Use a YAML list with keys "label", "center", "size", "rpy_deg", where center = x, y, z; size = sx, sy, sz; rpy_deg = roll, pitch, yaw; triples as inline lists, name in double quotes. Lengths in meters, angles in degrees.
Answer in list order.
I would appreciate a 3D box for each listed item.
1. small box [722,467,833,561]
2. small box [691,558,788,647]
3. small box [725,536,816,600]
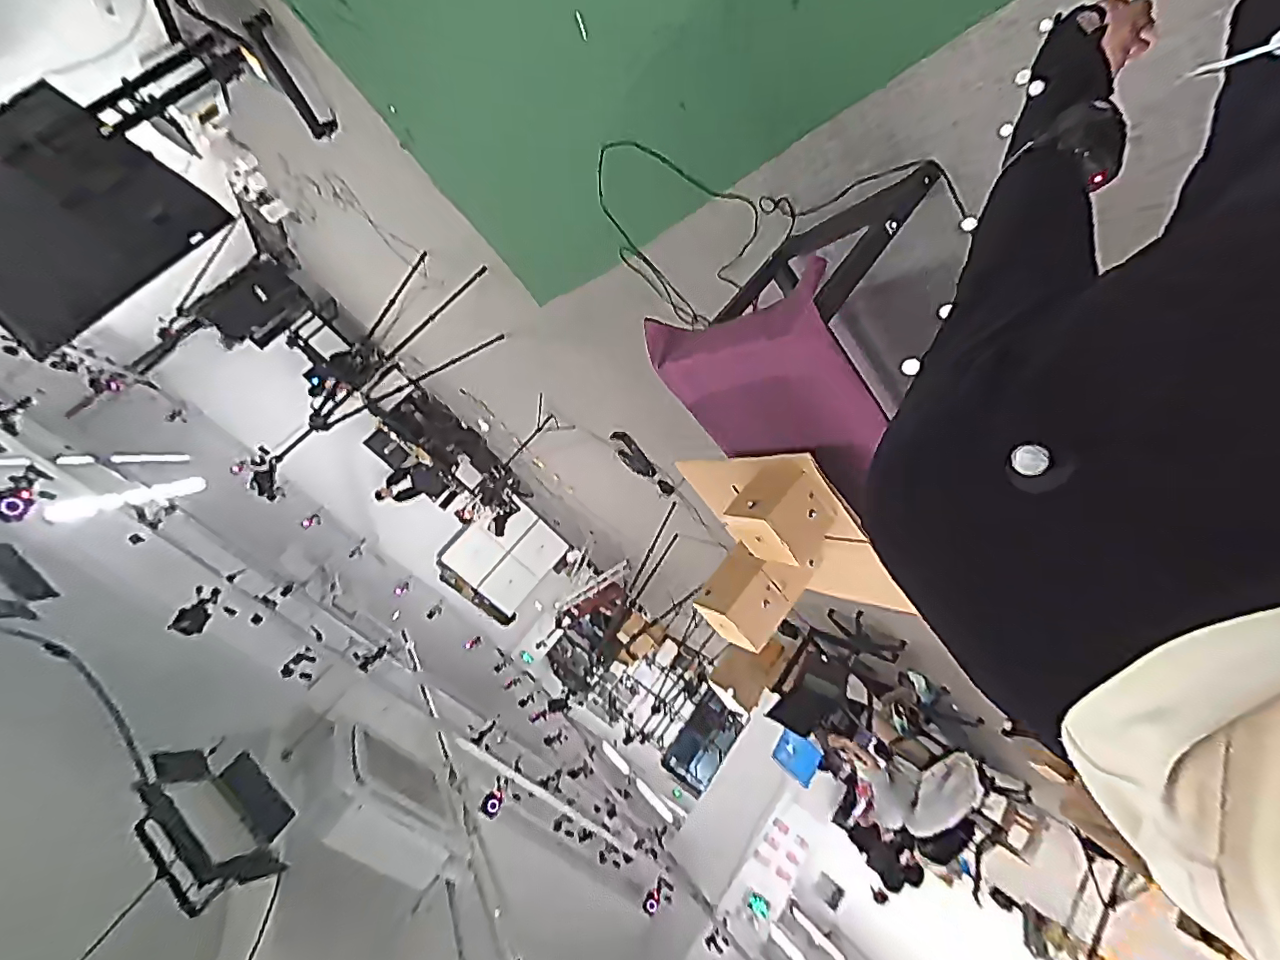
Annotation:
- label: "small box"
  center: [0.350, 0.078, 1.372]
  size: [0.168, 0.176, 0.179]
  rpy_deg: [48, 159, -19]
- label: "small box"
  center: [0.288, 0.343, 1.555]
  size: [0.168, 0.176, 0.179]
  rpy_deg: [49, 159, -19]
- label: "small box"
  center: [0.394, 0.227, 1.605]
  size: [0.168, 0.176, 0.179]
  rpy_deg: [50, 160, -19]
